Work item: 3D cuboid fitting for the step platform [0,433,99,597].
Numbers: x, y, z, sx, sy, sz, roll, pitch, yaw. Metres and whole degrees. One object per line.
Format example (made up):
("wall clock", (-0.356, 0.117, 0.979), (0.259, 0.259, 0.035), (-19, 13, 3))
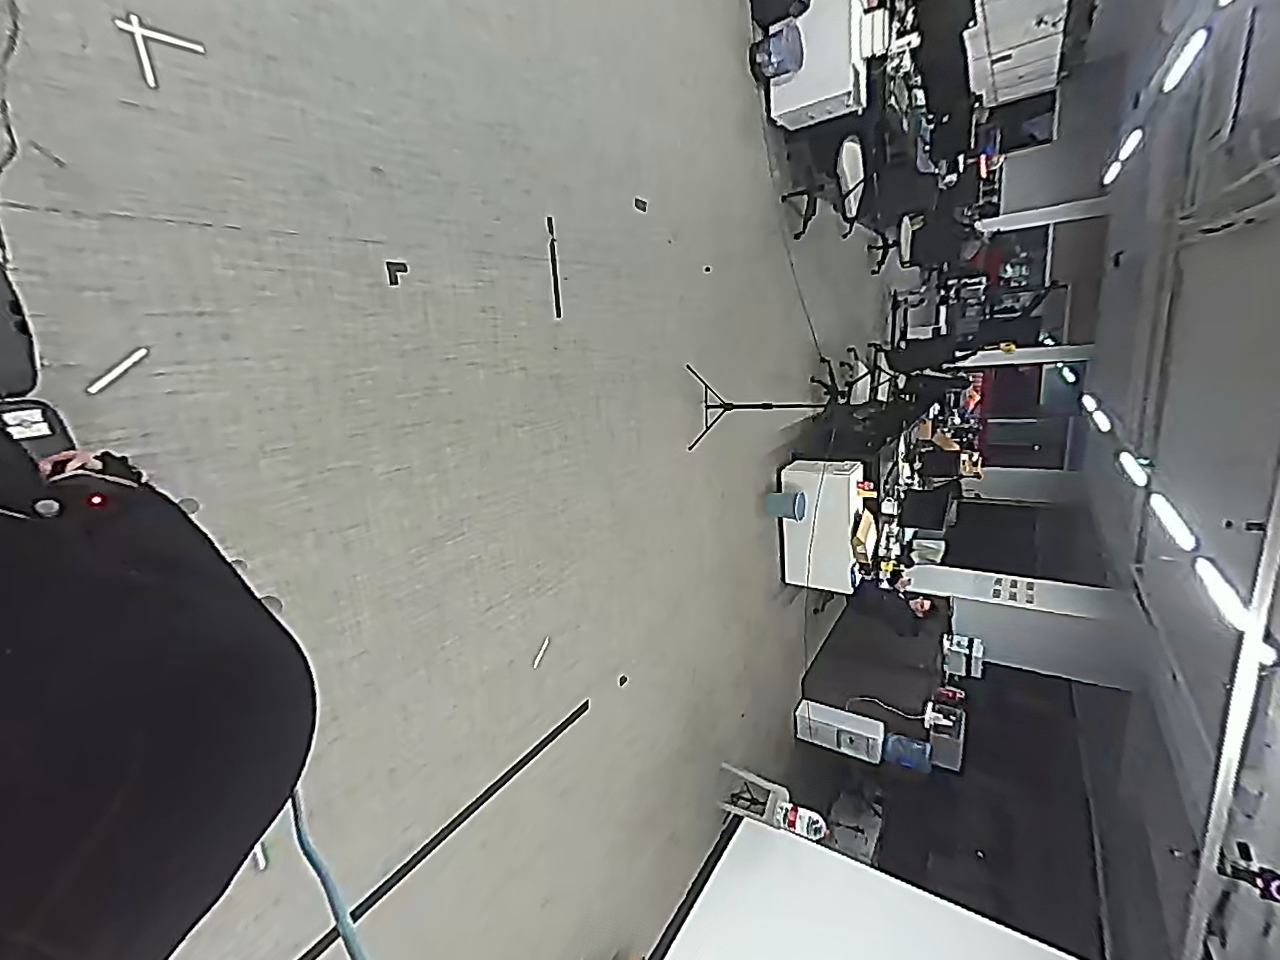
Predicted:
("step platform", (-1.296, 0.095, 0.810), (0.684, 0.204, 0.286), (-15, 104, -52))
